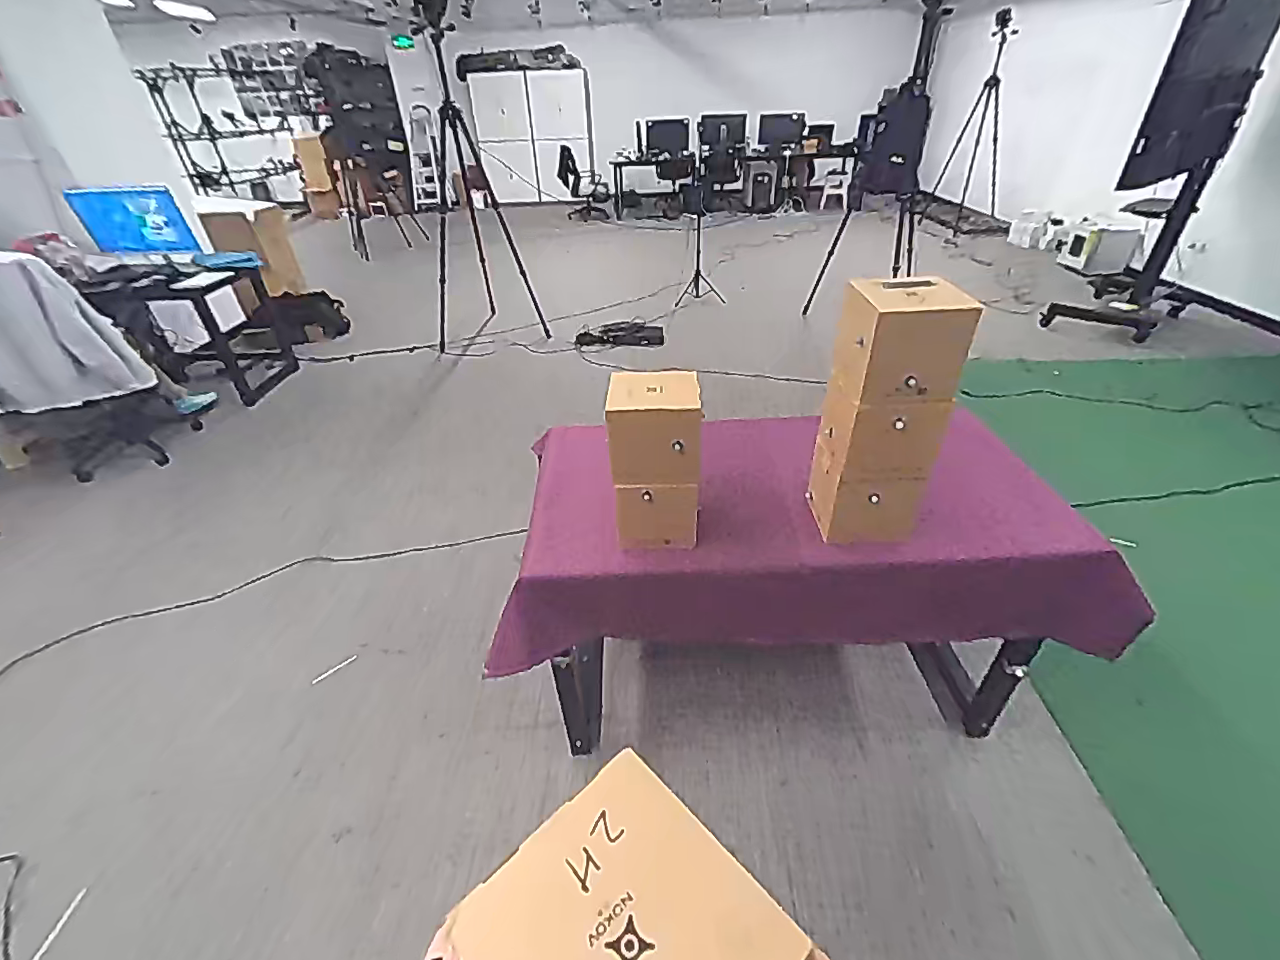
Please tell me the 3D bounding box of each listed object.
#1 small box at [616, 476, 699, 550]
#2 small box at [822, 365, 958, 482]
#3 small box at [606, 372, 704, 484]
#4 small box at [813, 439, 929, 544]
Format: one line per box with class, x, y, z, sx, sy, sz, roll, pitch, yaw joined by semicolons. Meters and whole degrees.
small box;0.039;0.032;1.165;0.168;0.176;0.179;-1;35;3
small box;0.472;-0.110;1.052;0.179;0.176;0.168;-3;36;2
small box;0.033;-0.102;1.070;0.179;0.176;0.168;-1;35;4
small box;0.475;0.023;1.147;0.179;0.176;0.168;-1;36;2
